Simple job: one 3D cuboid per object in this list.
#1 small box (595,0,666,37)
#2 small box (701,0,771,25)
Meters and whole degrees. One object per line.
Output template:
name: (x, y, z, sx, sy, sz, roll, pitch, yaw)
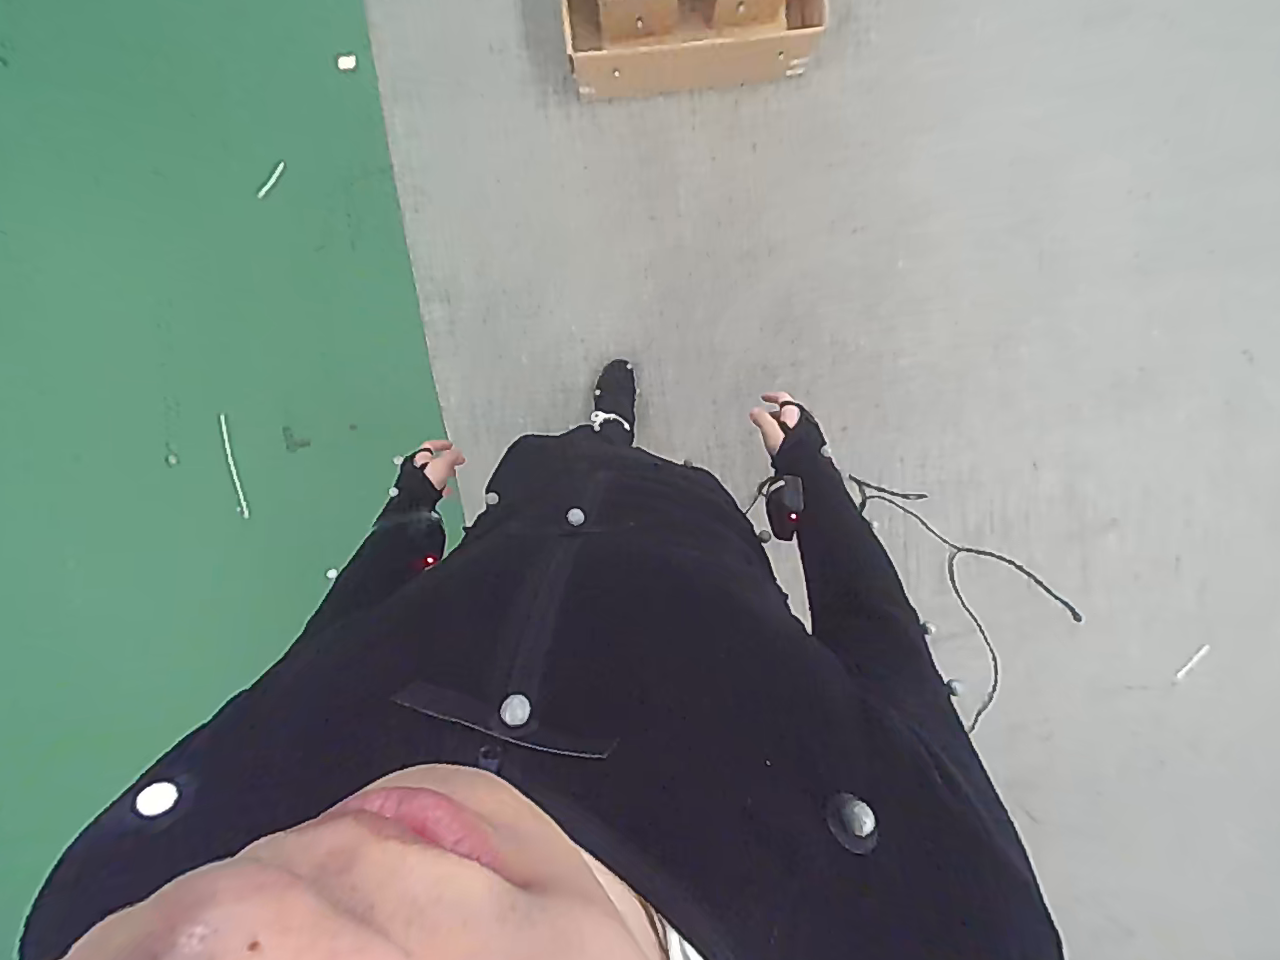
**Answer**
small box: (-0.027, -1.203, 1.291, 0.168, 0.176, 0.179, -8, 100, -1)
small box: (0.233, -1.233, 1.291, 0.168, 0.176, 0.179, -7, 100, 1)
